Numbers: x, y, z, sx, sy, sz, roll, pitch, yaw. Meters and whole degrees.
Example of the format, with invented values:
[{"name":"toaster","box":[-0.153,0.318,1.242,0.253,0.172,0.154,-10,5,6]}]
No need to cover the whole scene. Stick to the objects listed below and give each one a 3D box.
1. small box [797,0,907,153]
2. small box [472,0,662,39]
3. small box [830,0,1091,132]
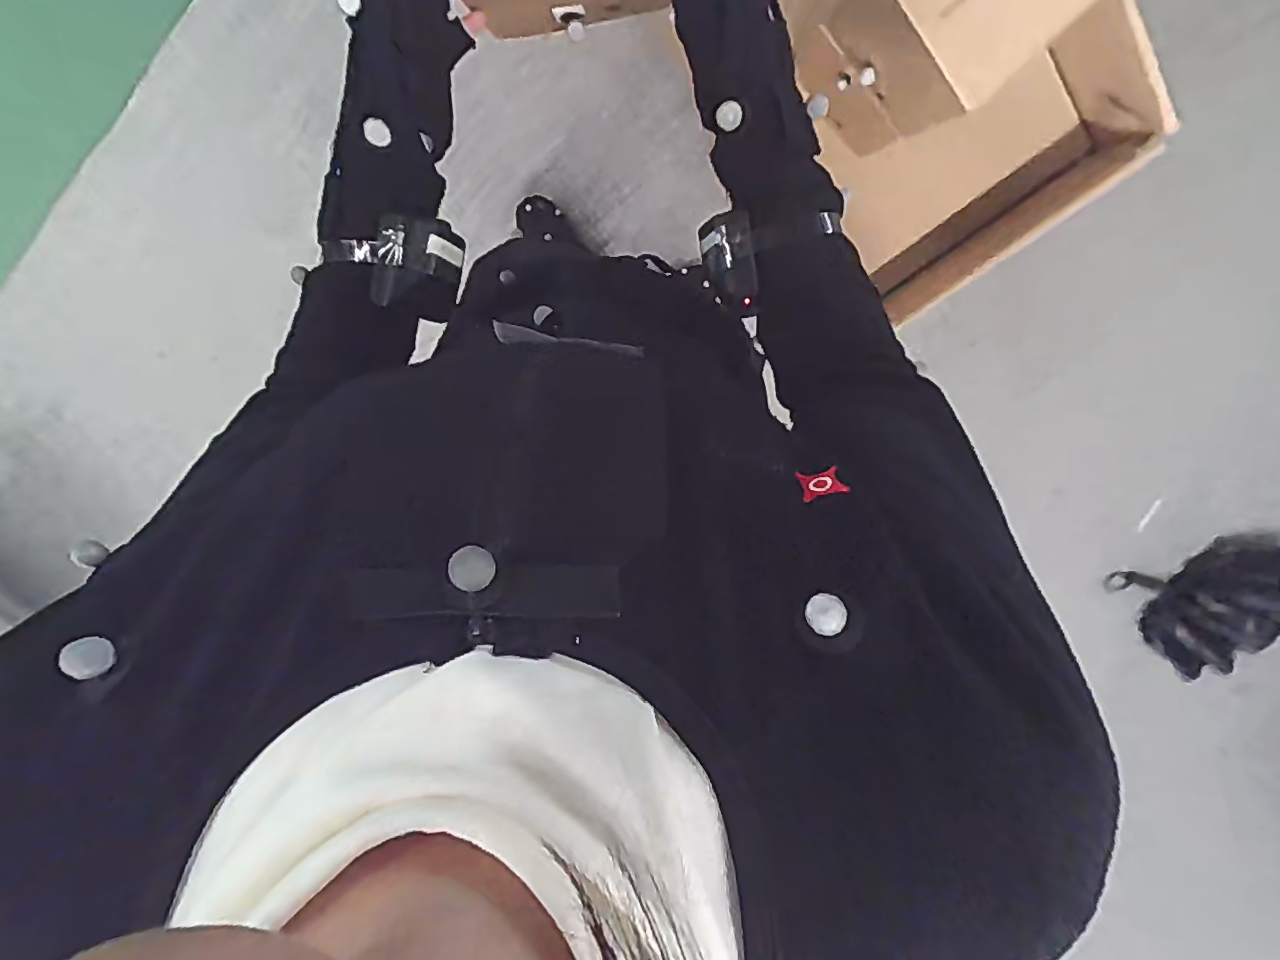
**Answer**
[{"name":"small box","box":[0.328,-0.558,0.687,0.179,0.176,0.168,-41,105,18]},{"name":"small box","box":[-0.066,-0.438,0.358,0.168,0.176,0.179,-8,116,7]},{"name":"small box","box":[0.321,-0.491,0.537,0.179,0.176,0.168,-40,106,20]}]
